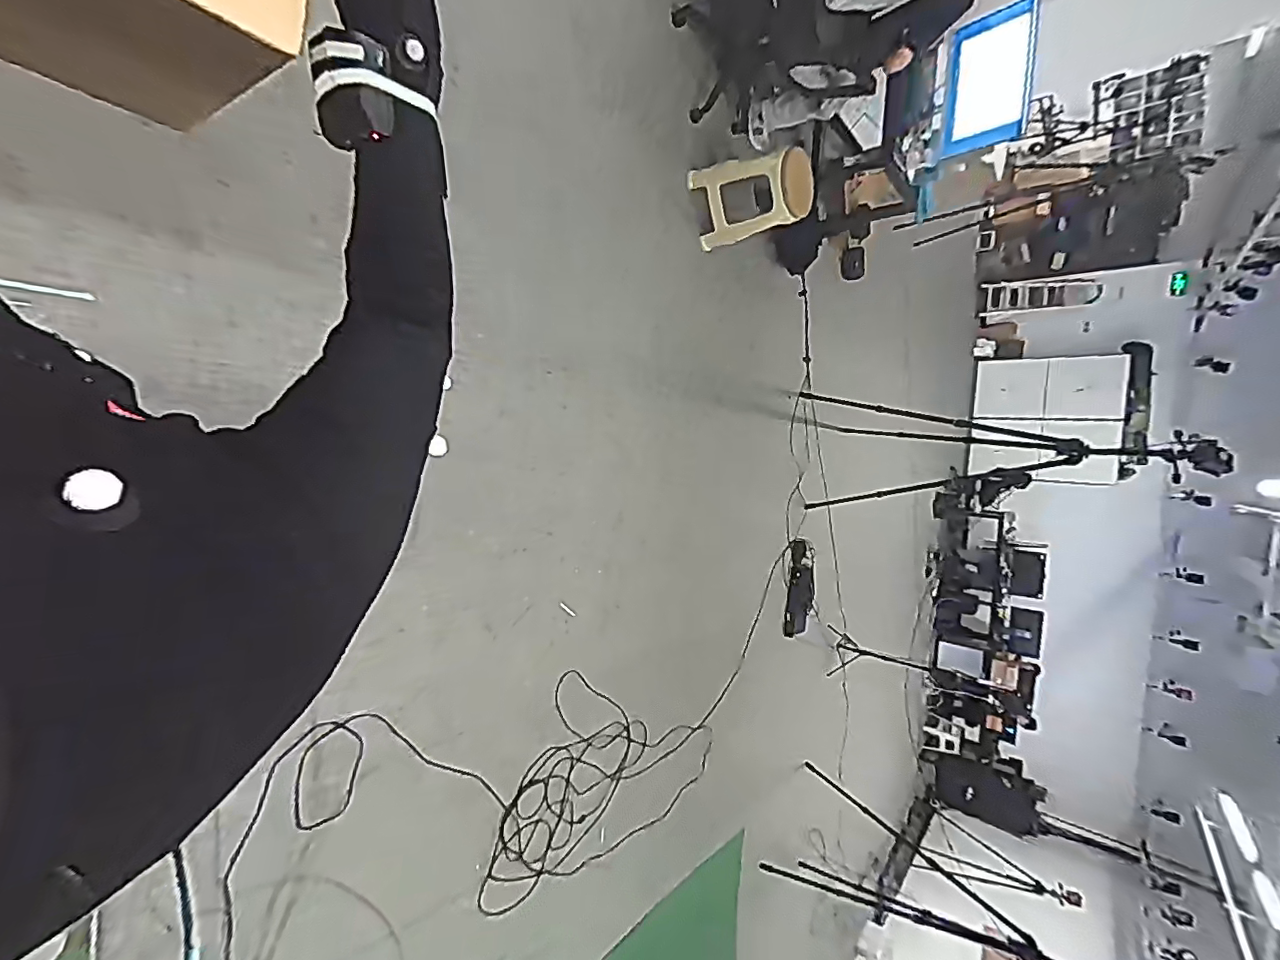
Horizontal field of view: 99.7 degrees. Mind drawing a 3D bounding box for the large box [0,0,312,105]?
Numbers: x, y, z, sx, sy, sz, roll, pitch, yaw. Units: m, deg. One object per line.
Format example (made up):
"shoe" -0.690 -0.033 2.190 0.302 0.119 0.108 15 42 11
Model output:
"large box" -0.440 -0.487 0.283 0.408 0.320 0.320 0 104 -52
